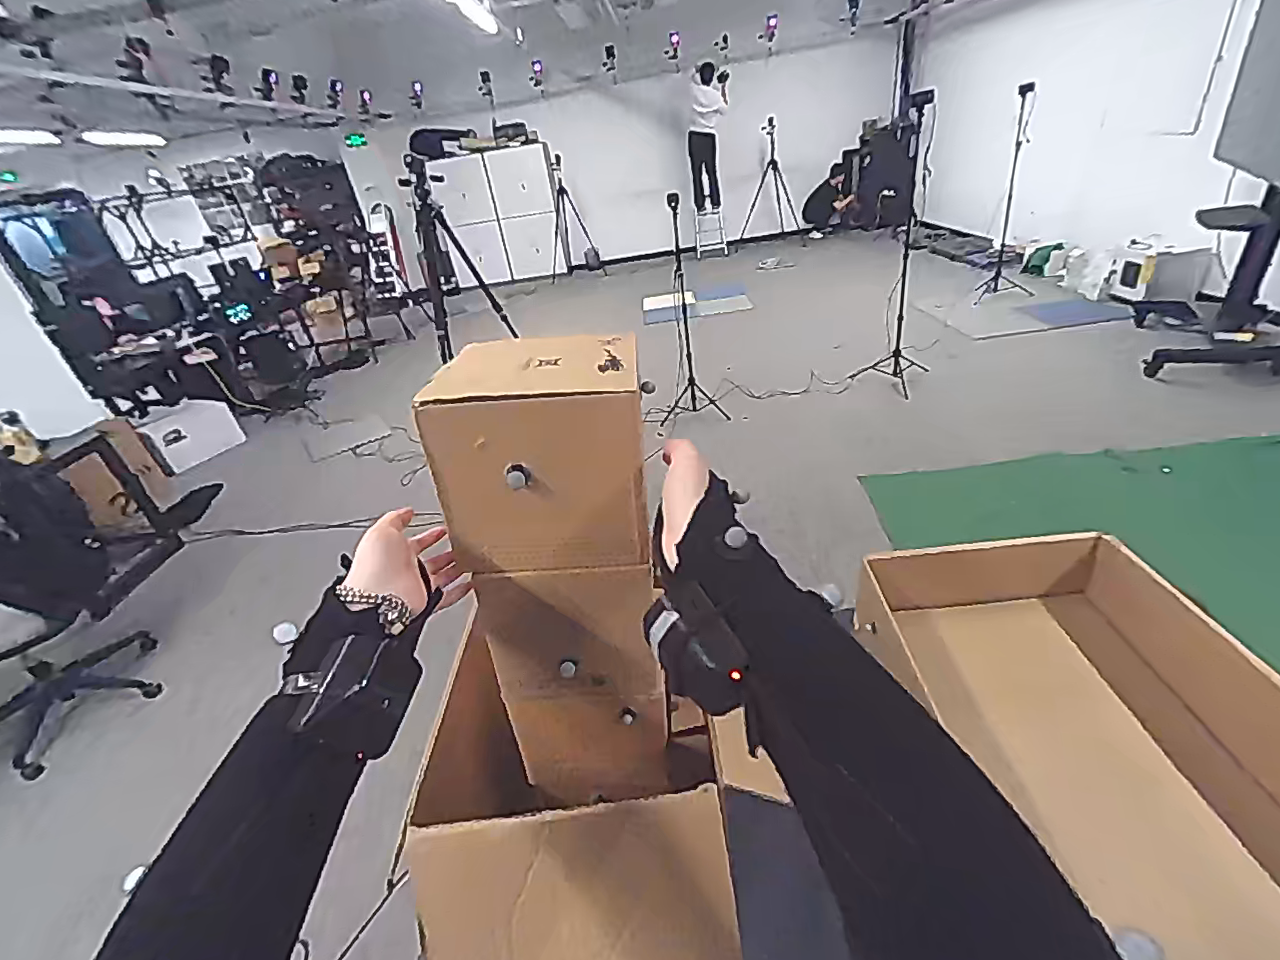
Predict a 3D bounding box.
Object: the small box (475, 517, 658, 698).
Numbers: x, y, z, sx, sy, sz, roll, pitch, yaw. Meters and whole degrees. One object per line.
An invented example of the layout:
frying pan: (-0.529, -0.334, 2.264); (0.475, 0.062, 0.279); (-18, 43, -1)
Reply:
small box: (-0.066, 0.114, 0.601); (0.168, 0.176, 0.179); (-4, 30, 1)

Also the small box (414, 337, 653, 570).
small box: (-0.082, -0.028, 0.519); (0.179, 0.176, 0.168); (-4, 30, 1)
